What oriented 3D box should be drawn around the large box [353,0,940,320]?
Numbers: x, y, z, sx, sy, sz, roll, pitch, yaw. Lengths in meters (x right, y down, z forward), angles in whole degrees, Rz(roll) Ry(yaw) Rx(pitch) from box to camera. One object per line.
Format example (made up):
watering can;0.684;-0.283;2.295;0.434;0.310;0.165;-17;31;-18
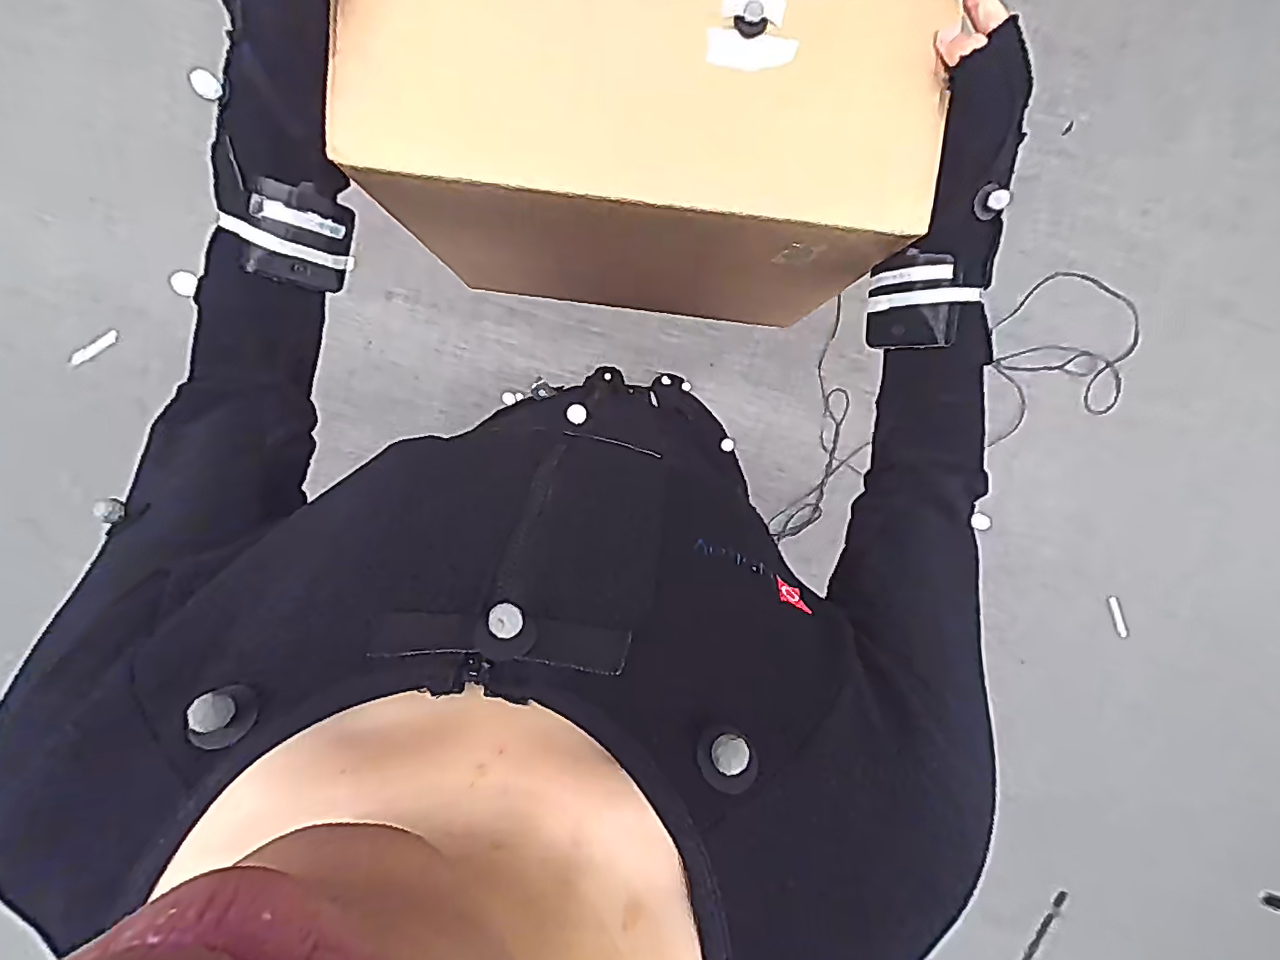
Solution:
large box;0.006;-0.358;0.517;0.408;0.320;0.320;6;94;-2
